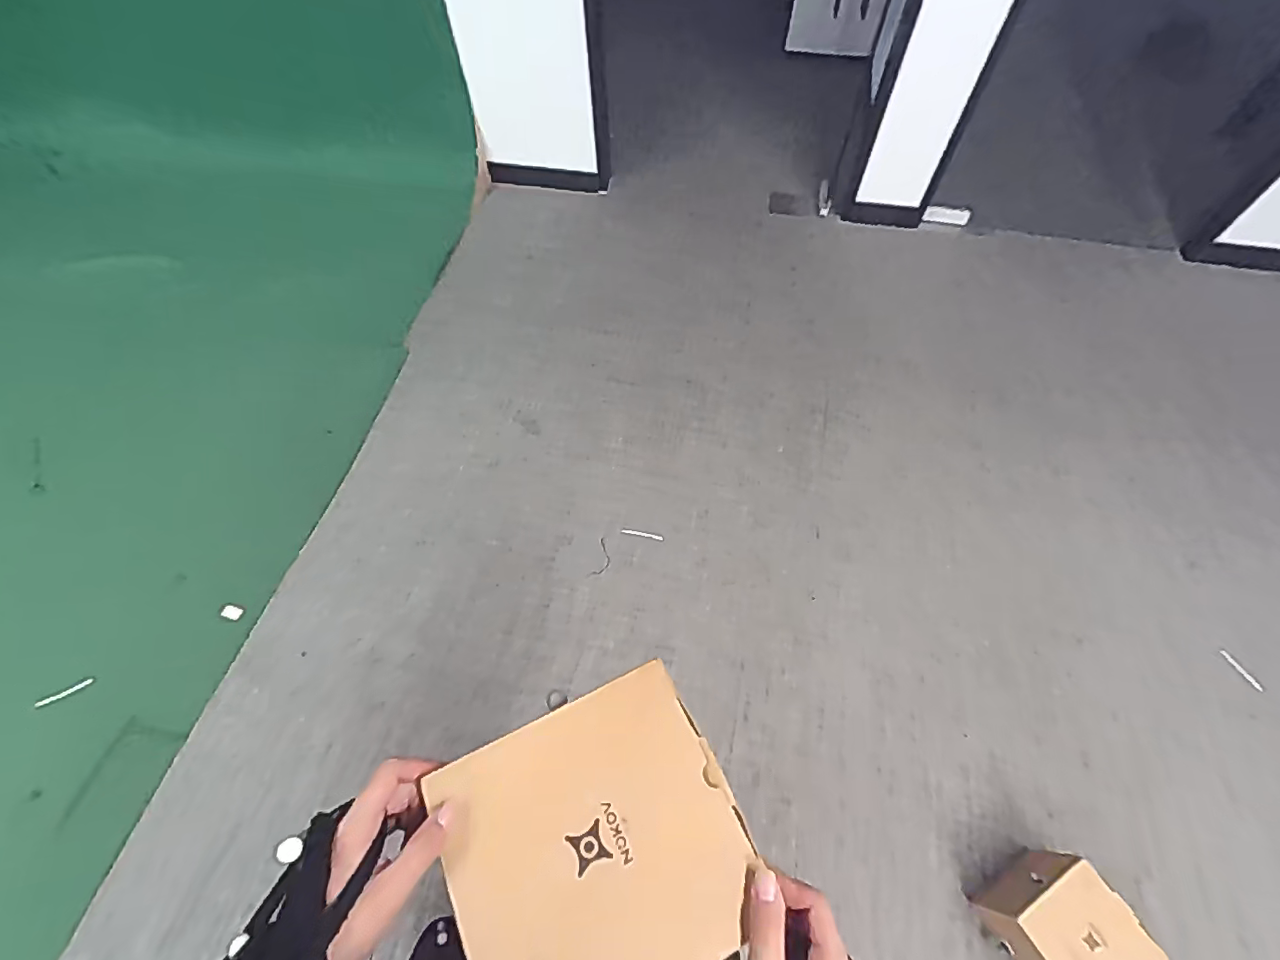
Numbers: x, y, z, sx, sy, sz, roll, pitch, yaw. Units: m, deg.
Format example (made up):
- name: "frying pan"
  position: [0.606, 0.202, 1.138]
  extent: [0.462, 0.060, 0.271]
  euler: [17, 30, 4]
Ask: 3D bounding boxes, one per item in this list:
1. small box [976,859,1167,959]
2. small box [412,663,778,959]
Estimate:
- name: "small box"
  position: [0.737, 0.797, 0.940]
  extent: [0.179, 0.176, 0.168]
  euler: [-28, 62, -13]
- name: "small box"
  position: [-0.032, 0.263, 0.391]
  extent: [0.179, 0.176, 0.168]
  euler: [-23, 63, -14]
